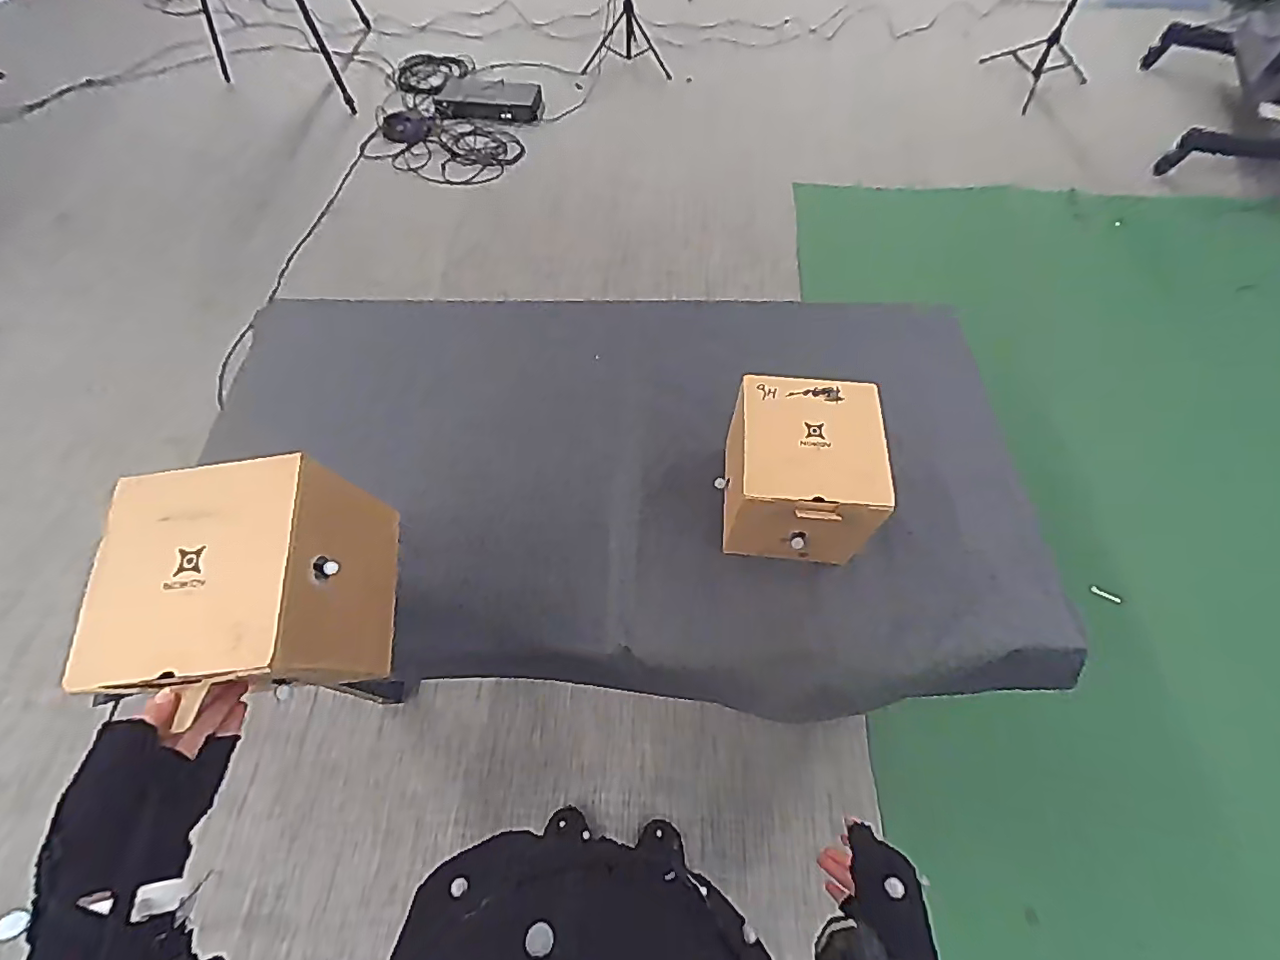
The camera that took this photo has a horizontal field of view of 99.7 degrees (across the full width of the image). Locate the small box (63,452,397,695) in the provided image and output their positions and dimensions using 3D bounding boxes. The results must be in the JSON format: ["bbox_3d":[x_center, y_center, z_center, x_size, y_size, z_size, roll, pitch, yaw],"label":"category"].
[{"bbox_3d":[-0.344,0.095,0.496,0.168,0.176,0.179,-8,68,2],"label":"small box"}]

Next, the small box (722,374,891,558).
[{"bbox_3d":[0.201,-0.011,0.696,0.168,0.176,0.179,6,62,2],"label":"small box"}]
